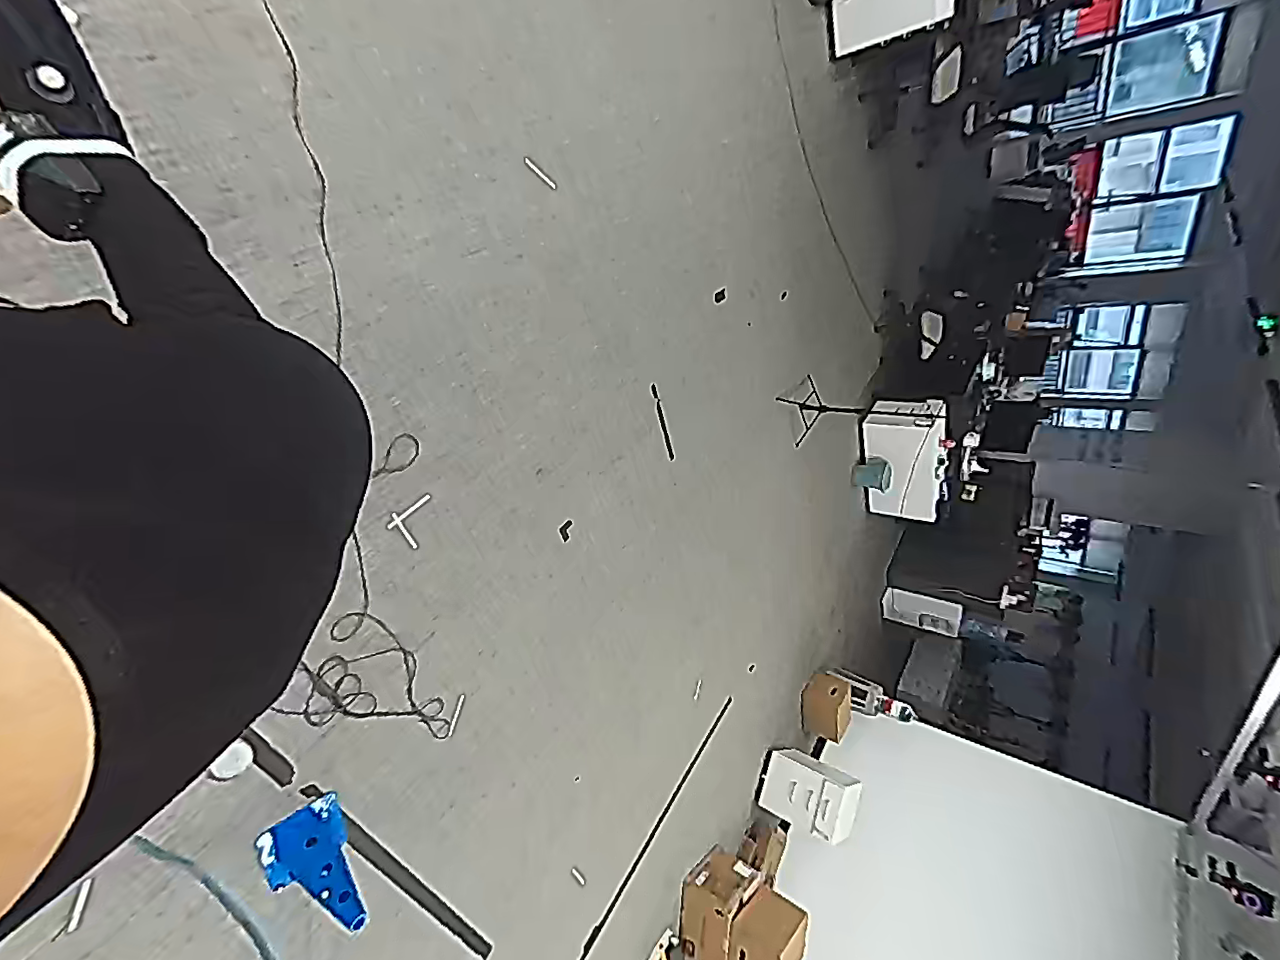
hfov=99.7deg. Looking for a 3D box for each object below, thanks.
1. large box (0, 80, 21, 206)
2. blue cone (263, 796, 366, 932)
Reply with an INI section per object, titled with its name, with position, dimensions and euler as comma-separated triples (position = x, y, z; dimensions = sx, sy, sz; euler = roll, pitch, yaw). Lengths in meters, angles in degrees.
[large box]
position = -0.729, -0.307, 0.304
dimensions = 0.408, 0.320, 0.320
euler = -42, 128, -40
[blue cone]
position = -0.816, 1.031, 1.413
dimensions = 0.193, 0.380, 0.192
euler = -19, 113, -47
